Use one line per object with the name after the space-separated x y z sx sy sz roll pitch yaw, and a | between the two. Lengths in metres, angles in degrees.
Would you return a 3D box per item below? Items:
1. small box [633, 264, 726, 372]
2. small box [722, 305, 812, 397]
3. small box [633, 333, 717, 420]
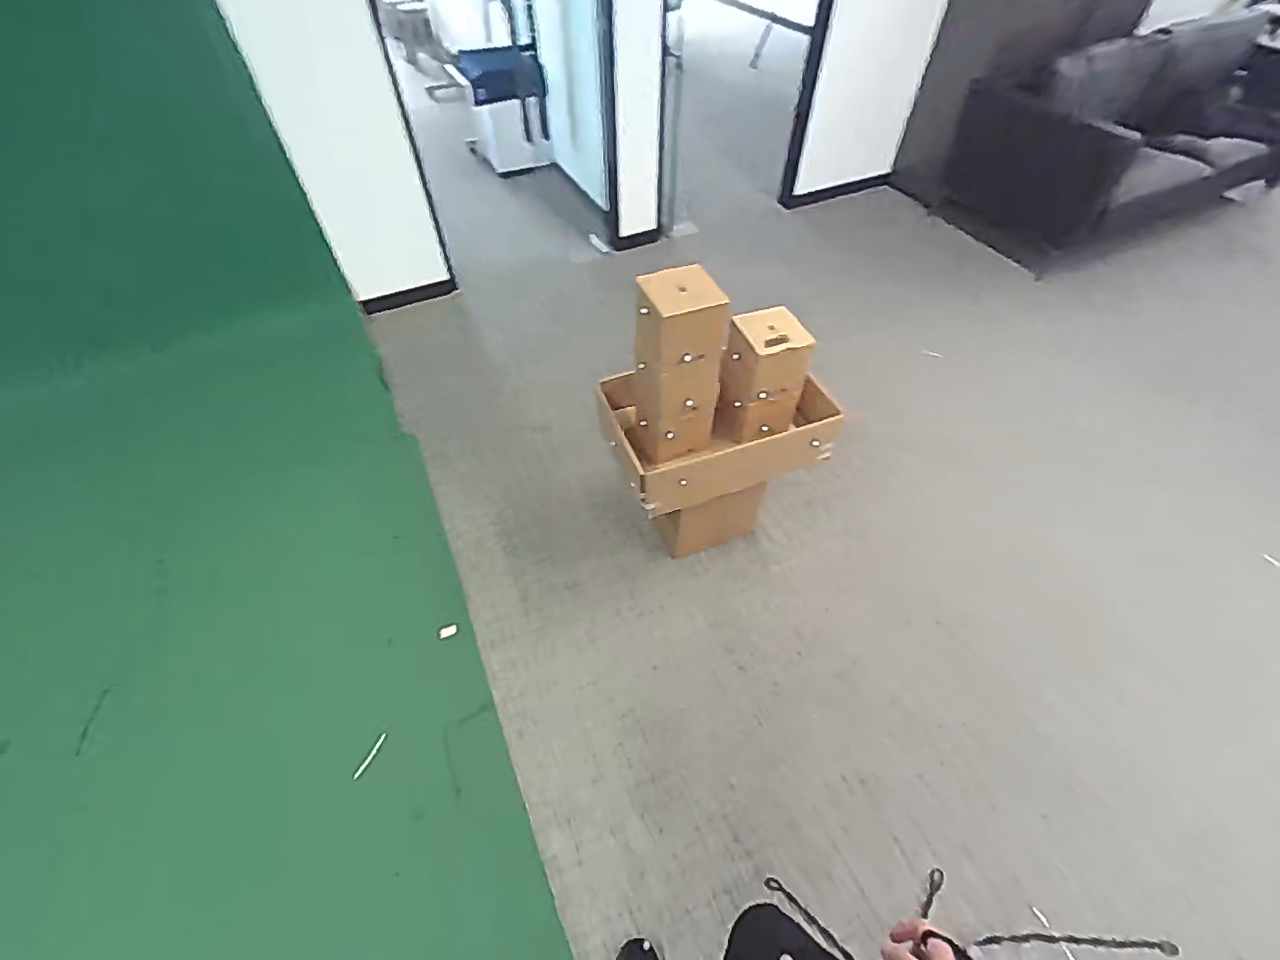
0.087 -0.390 1.302 0.168 0.176 0.179 -17 53 -12 | small box
0.339 -0.346 1.478 0.168 0.176 0.179 -15 53 -12 | small box
0.085 -0.287 1.428 0.168 0.176 0.179 -17 53 -13 | small box
